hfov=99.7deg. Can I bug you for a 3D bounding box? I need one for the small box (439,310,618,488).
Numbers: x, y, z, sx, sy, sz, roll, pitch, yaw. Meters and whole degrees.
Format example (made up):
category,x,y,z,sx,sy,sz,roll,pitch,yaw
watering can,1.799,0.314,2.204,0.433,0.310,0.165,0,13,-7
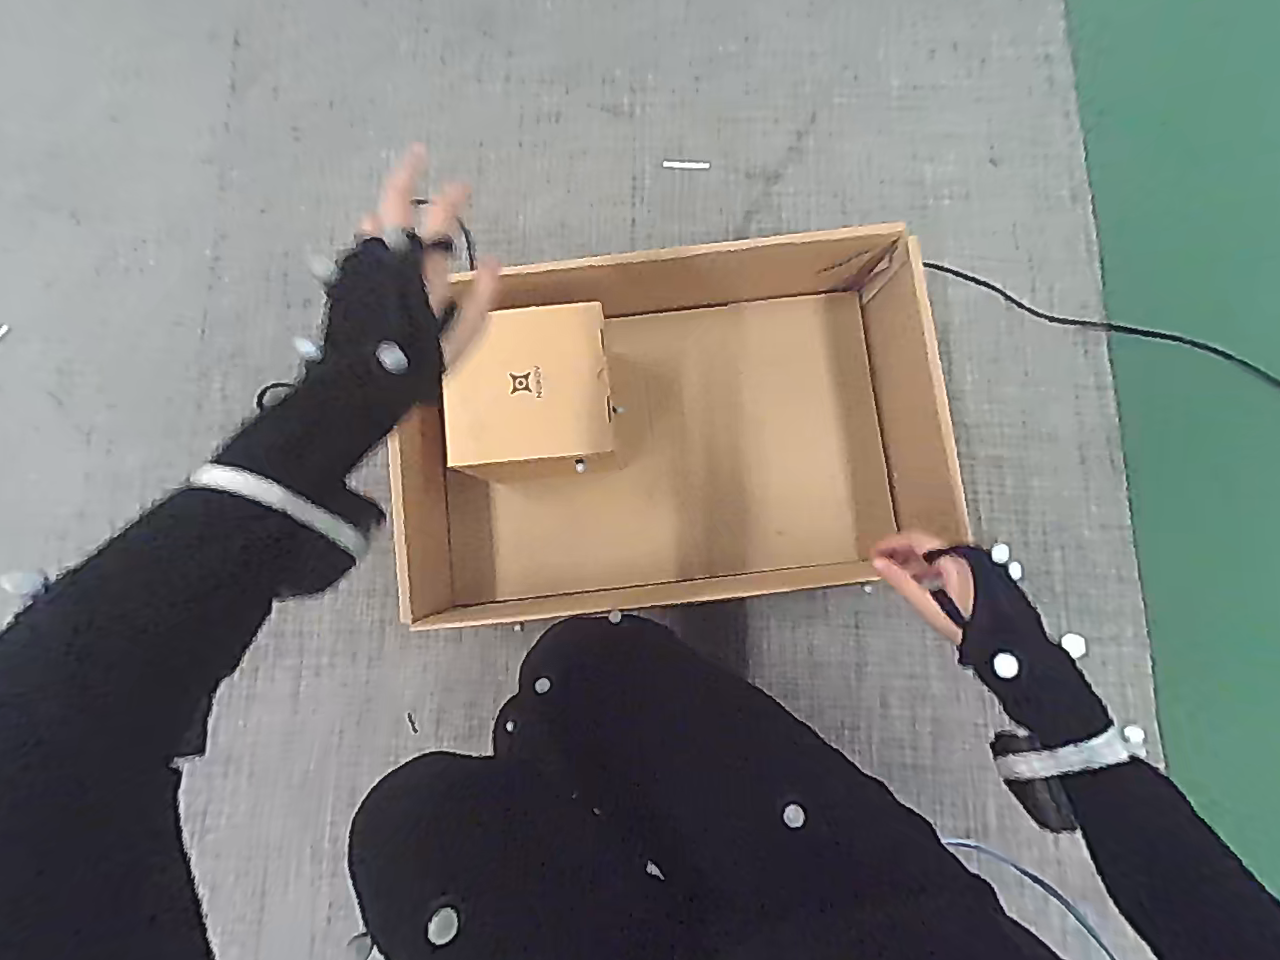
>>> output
category,x,y,z,sx,sy,sz,roll,pitch,yaw
small box,-0.123,-0.085,0.651,0.179,0.176,0.168,-6,84,-1
